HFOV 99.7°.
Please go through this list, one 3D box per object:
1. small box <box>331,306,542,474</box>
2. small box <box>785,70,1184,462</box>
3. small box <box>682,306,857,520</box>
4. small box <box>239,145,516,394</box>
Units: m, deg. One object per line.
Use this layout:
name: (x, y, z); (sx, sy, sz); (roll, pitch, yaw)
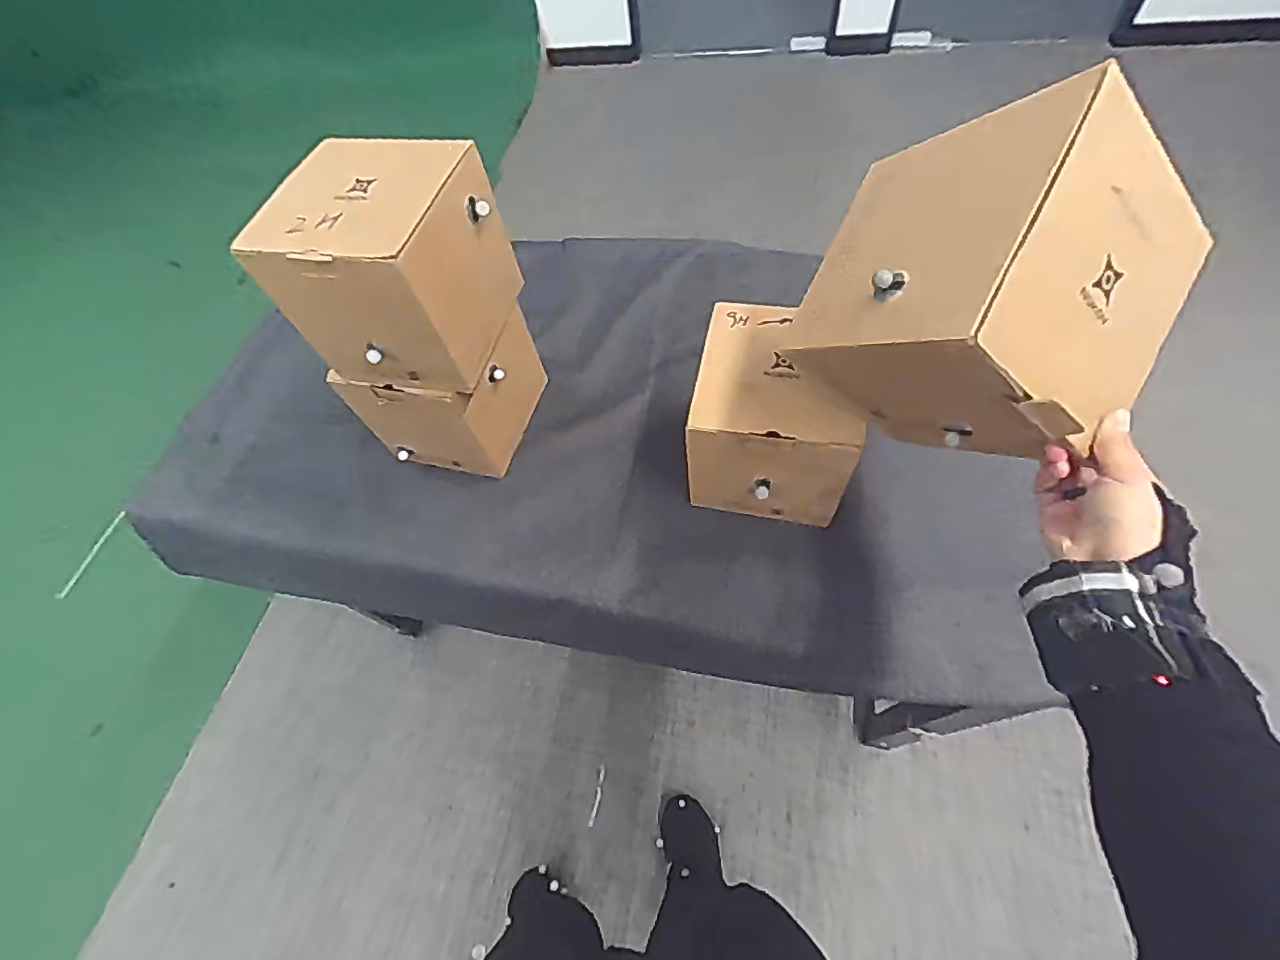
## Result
small box: (-0.245, -0.128, 0.704); (0.168, 0.176, 0.179); (11, 61, 13)
small box: (0.238, -0.133, 0.406); (0.179, 0.168, 0.176); (-64, 26, -3)
small box: (0.150, -0.071, 0.619); (0.168, 0.176, 0.179); (8, 62, 12)
small box: (-0.246, -0.216, 0.564); (0.168, 0.176, 0.179); (8, 61, 12)
